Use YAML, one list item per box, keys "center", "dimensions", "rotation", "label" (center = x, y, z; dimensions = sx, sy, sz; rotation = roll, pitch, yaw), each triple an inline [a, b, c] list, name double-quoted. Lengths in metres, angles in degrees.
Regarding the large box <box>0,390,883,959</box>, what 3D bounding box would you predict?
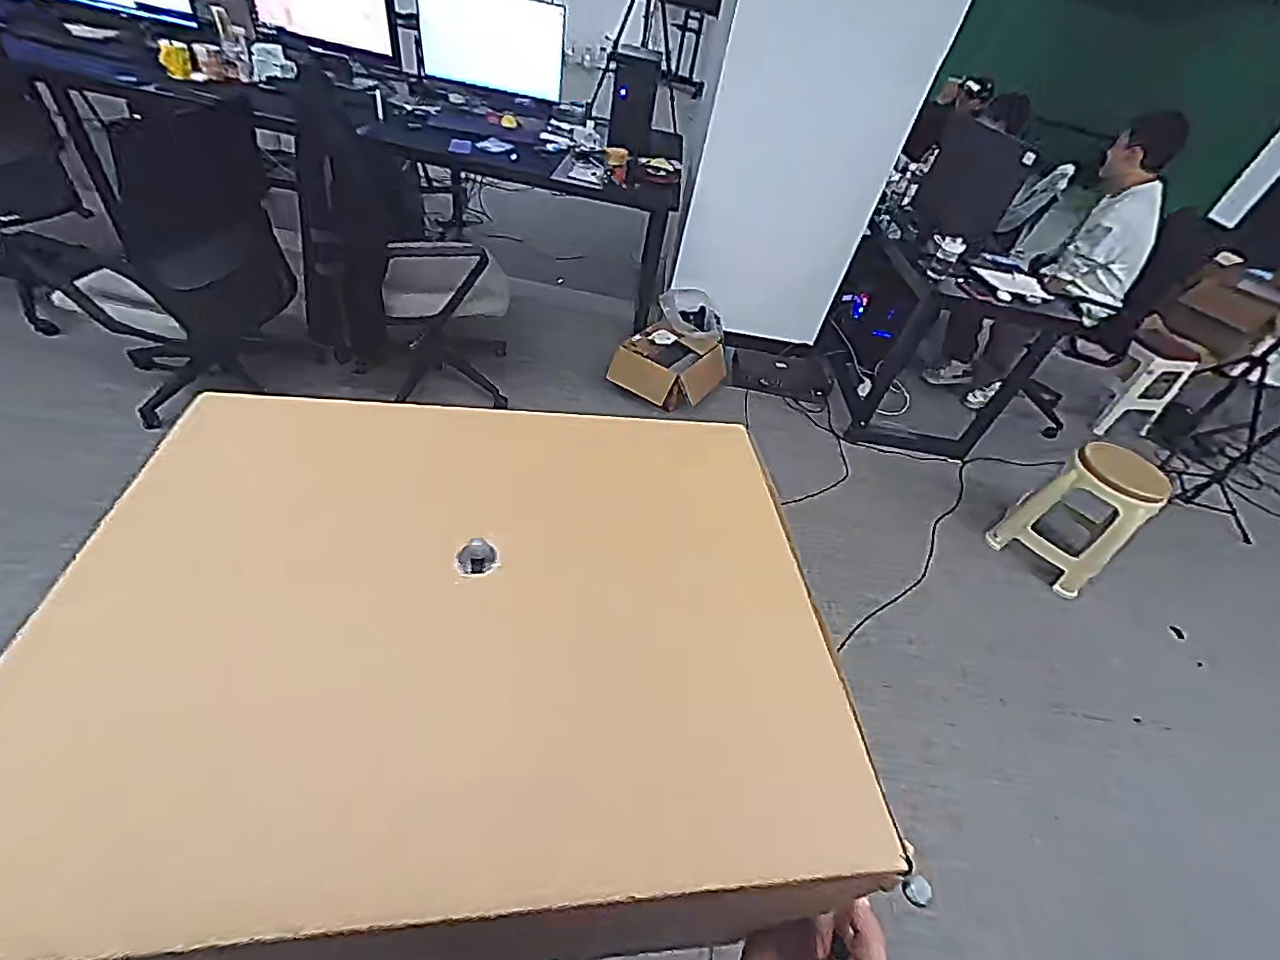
- center: [-0.123, 0.148, 0.414]
  dimensions: [0.408, 0.320, 0.320]
  rotation: [1, 47, -11]
  label: "large box"
